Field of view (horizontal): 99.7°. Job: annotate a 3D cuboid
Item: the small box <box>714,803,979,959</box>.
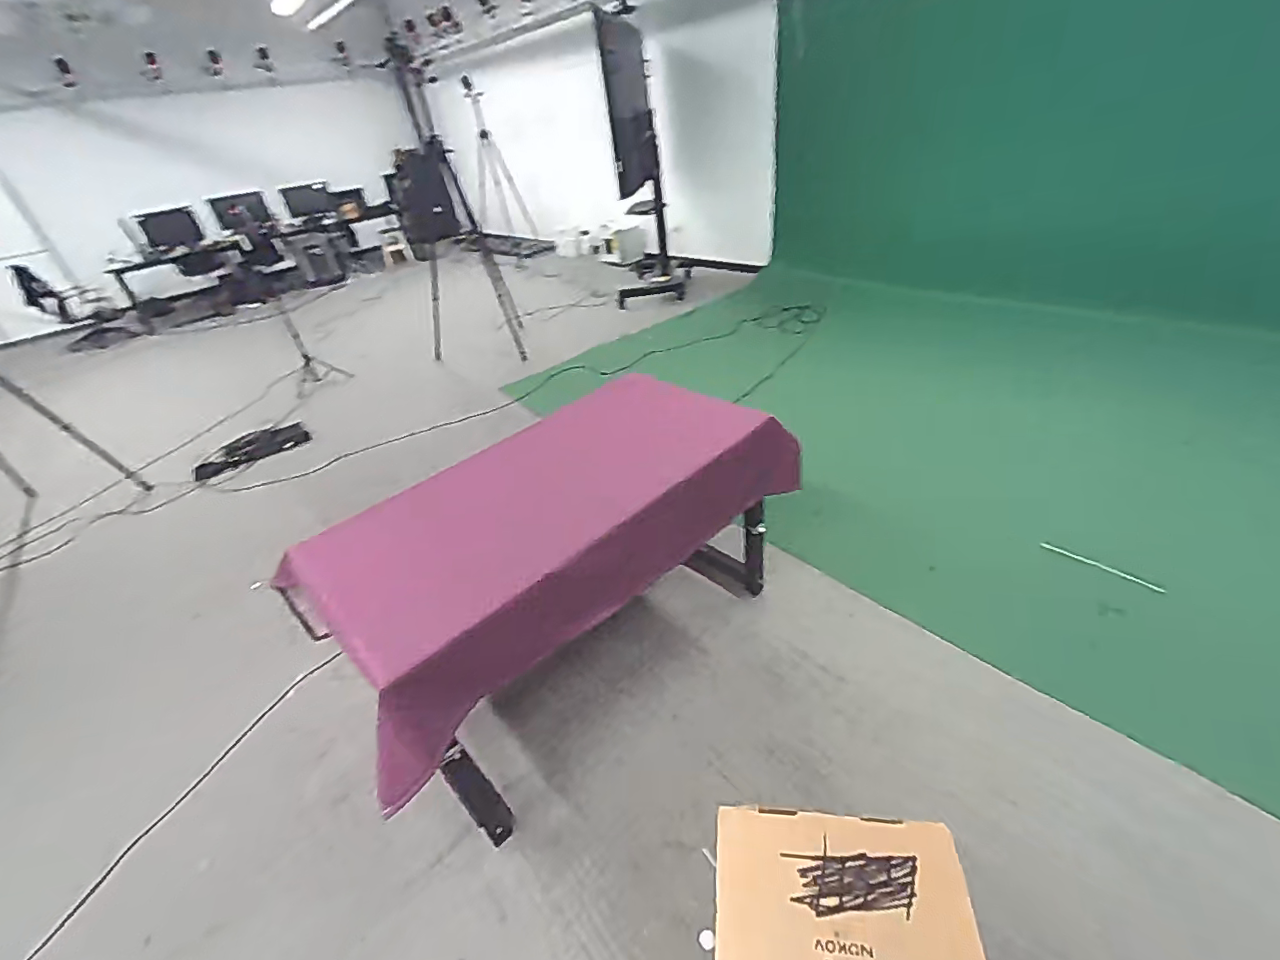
[{"bbox_3d":[0.140,0.365,0.391,0.168,0.176,0.179,-3,41,11],"label":"small box"}]
